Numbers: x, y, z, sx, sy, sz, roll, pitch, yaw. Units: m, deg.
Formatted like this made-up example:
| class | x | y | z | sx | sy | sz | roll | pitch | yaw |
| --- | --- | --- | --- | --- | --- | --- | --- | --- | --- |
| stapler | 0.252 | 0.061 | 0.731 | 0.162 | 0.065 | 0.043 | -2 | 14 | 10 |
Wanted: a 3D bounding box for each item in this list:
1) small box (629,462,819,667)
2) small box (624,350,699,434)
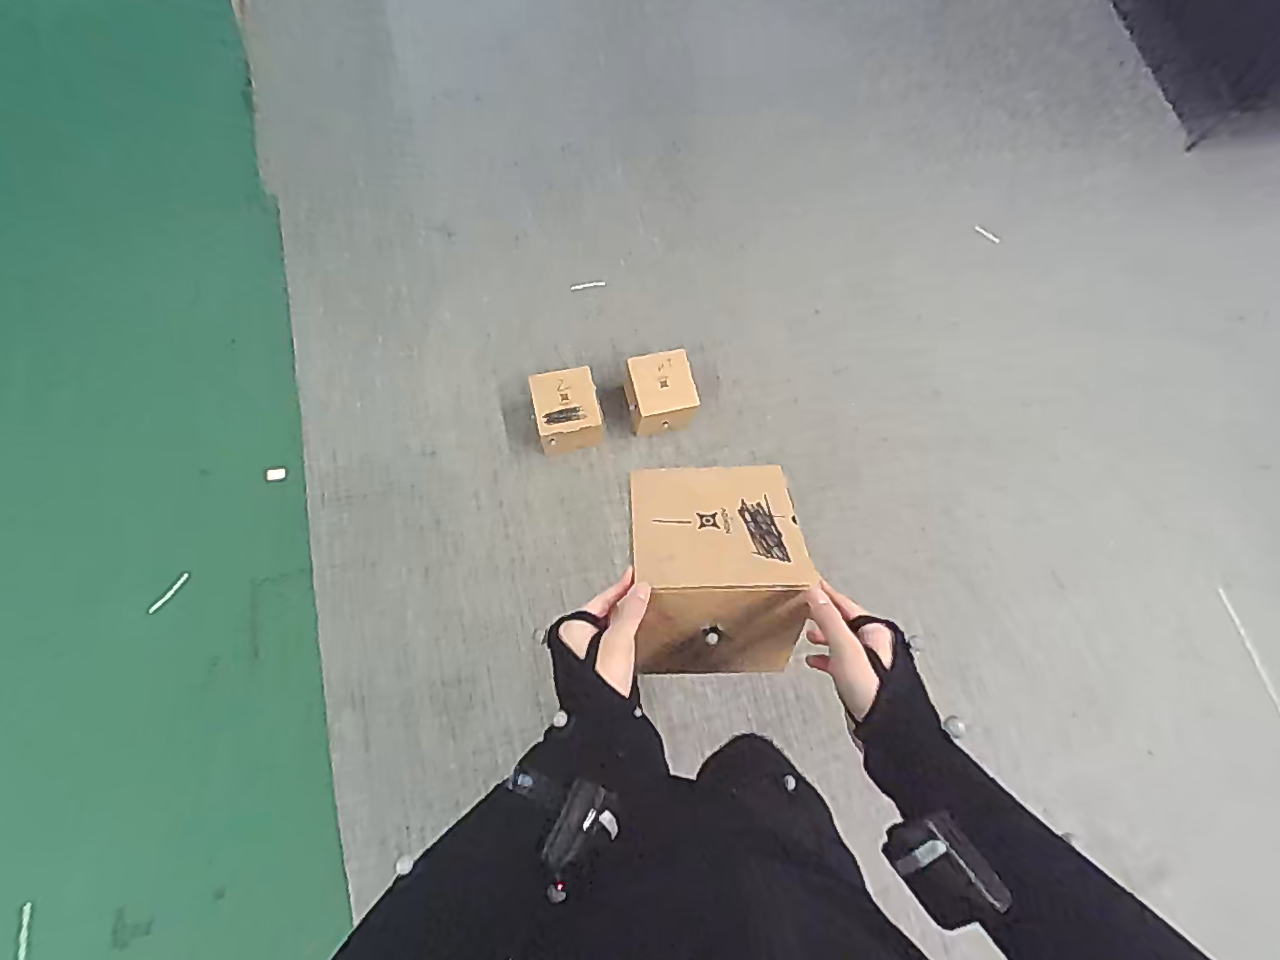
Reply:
| class | x | y | z | sx | sy | sz | roll | pitch | yaw |
| --- | --- | --- | --- | --- | --- | --- | --- | --- | --- |
| small box | 0.077 | 0.097 | 0.612 | 0.179 | 0.176 | 0.168 | 0 | 43 | -2 |
| small box | 0.056 | -0.242 | 1.534 | 0.168 | 0.176 | 0.179 | -12 | 76 | -9 |
